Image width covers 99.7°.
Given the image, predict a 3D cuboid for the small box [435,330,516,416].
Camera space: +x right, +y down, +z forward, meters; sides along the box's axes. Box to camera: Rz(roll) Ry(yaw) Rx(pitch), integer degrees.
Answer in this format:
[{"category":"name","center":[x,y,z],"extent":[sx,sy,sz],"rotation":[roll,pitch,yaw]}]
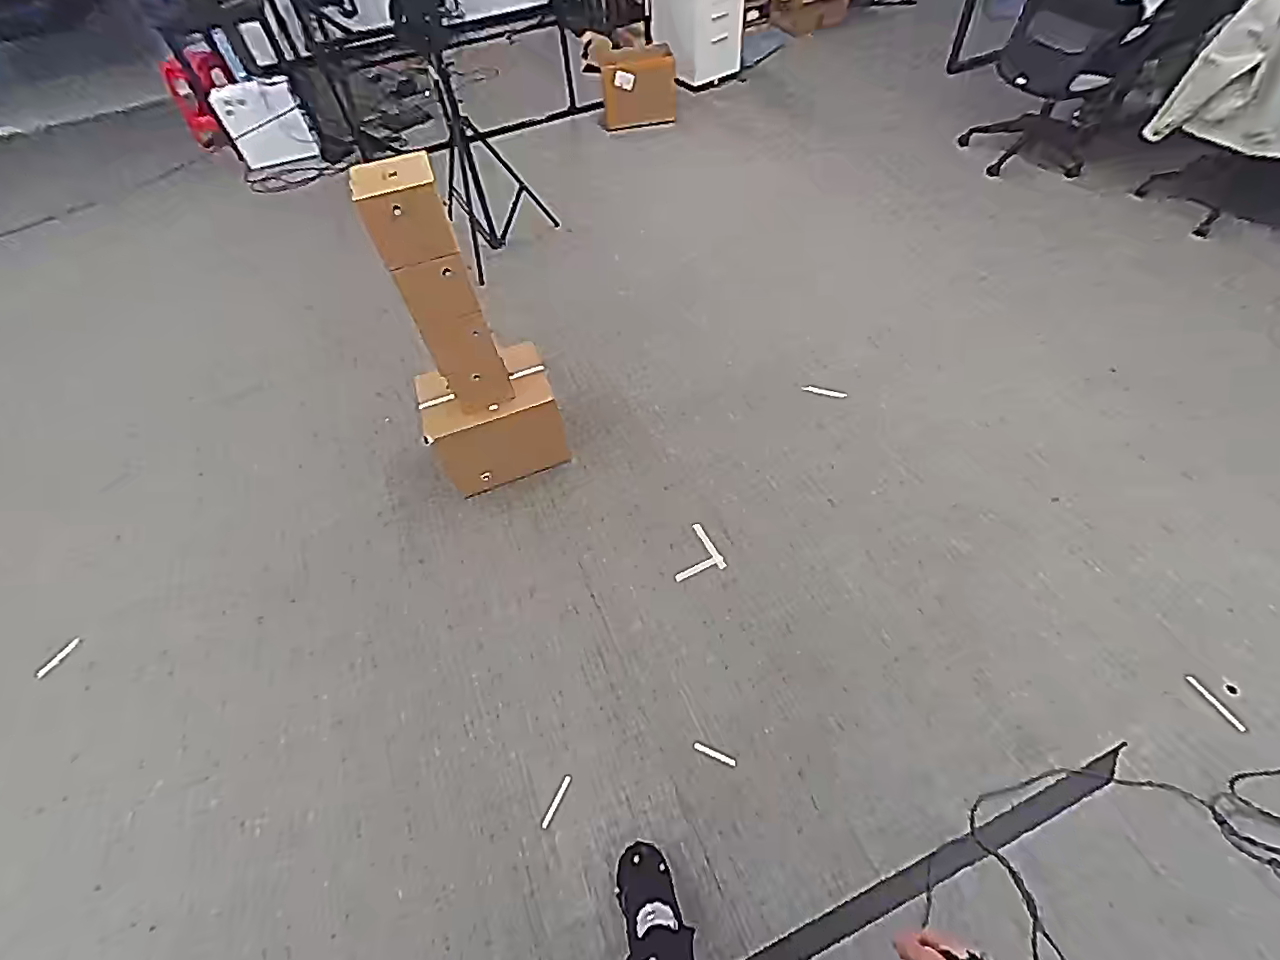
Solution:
[{"category":"small box","center":[-0.501,-0.323,1.656],"extent":[0.179,0.176,0.168],"rotation":[-22,56,-11]}]

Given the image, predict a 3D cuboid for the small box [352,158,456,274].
[{"category":"small box","center":[-0.543,-0.612,1.261],"extent":[0.179,0.176,0.168],"rotation":[-19,55,-8]}]

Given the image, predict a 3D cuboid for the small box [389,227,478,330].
[{"category":"small box","center":[-0.530,-0.517,1.392],"extent":[0.179,0.176,0.168],"rotation":[-19,55,-8]}]
